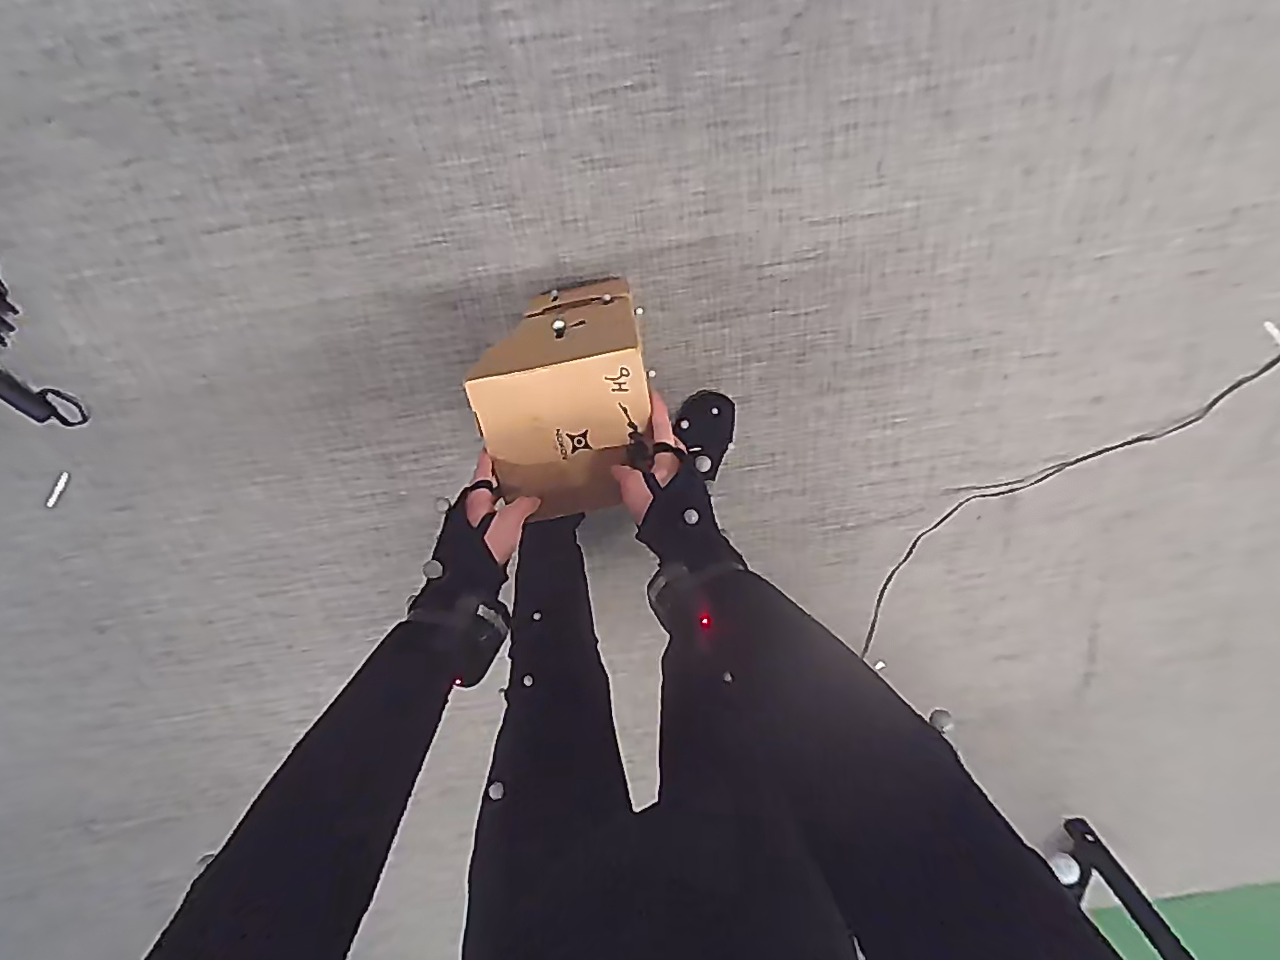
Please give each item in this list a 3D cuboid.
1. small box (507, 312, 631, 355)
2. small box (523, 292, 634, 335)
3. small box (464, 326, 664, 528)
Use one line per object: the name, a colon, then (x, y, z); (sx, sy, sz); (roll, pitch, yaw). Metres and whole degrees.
small box: (-0.078, -0.133, 0.779); (0.168, 0.176, 0.179); (-14, 117, 4)
small box: (-0.087, -0.212, 0.923); (0.168, 0.176, 0.179); (-13, 118, 4)
small box: (-0.075, -0.069, 0.628); (0.179, 0.176, 0.168); (-12, 116, 4)
